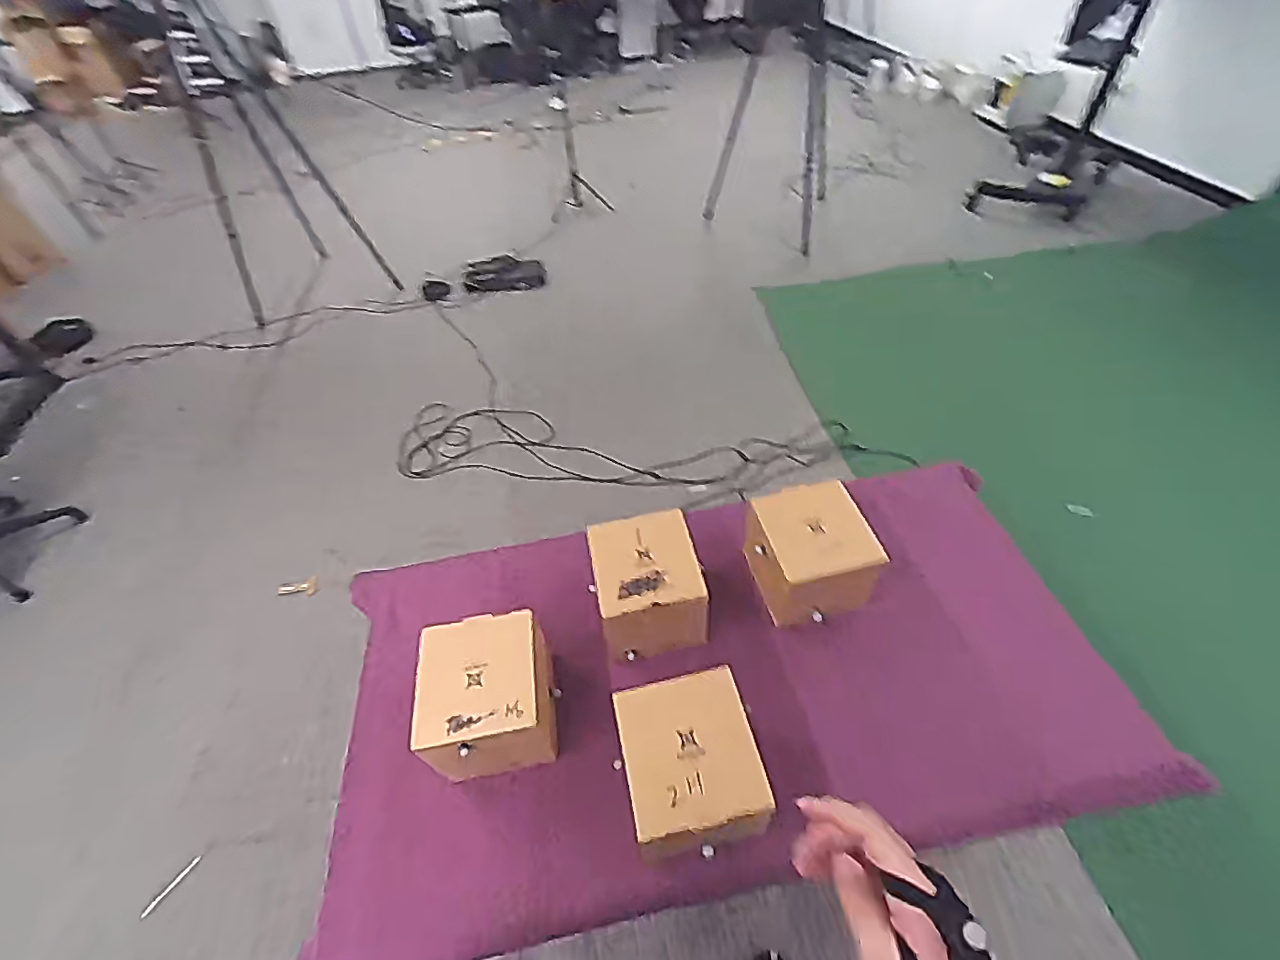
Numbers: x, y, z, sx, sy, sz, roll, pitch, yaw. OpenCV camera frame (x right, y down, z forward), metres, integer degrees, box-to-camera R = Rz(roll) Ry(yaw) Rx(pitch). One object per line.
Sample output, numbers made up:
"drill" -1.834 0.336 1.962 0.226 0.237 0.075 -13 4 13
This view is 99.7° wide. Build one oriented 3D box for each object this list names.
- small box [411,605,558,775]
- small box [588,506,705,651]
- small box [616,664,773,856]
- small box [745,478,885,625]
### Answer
"small box" -0.223 0.318 0.817 0.168 0.176 0.179 -11 48 -3
"small box" 0.012 0.175 0.927 0.168 0.176 0.179 -11 48 -5
"small box" 0.066 0.382 0.739 0.168 0.176 0.179 -11 48 -5
"small box" 0.292 0.126 0.949 0.168 0.176 0.179 -12 50 -5
